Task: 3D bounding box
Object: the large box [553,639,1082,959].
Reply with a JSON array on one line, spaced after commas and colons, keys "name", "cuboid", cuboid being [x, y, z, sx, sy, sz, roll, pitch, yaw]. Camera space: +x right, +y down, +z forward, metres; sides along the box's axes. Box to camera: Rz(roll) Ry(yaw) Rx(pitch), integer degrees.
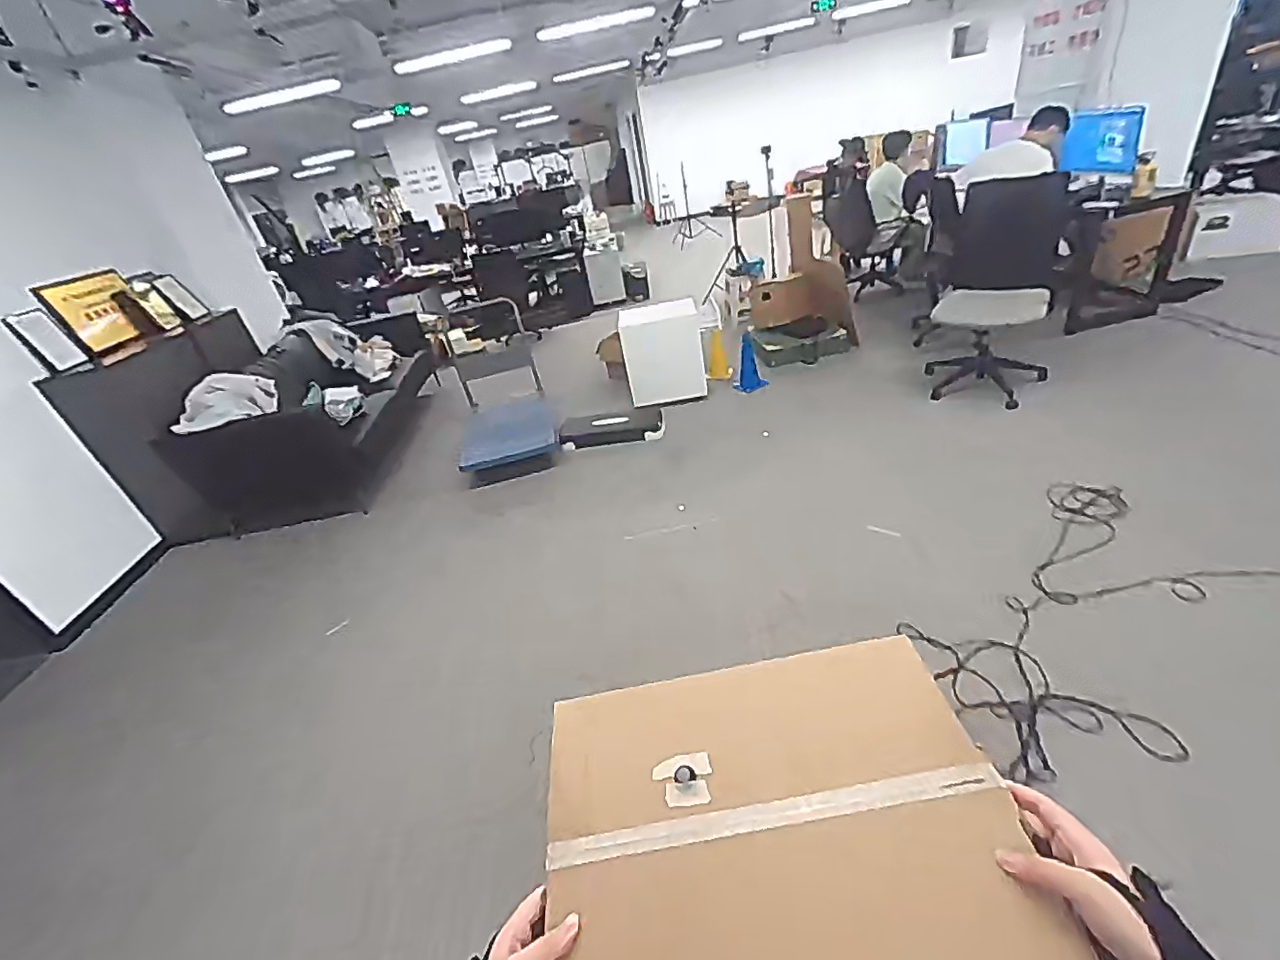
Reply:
[{"name": "large box", "cuboid": [0.148, 0.429, 0.586, 0.408, 0.320, 0.320, -14, 36, 4]}]
